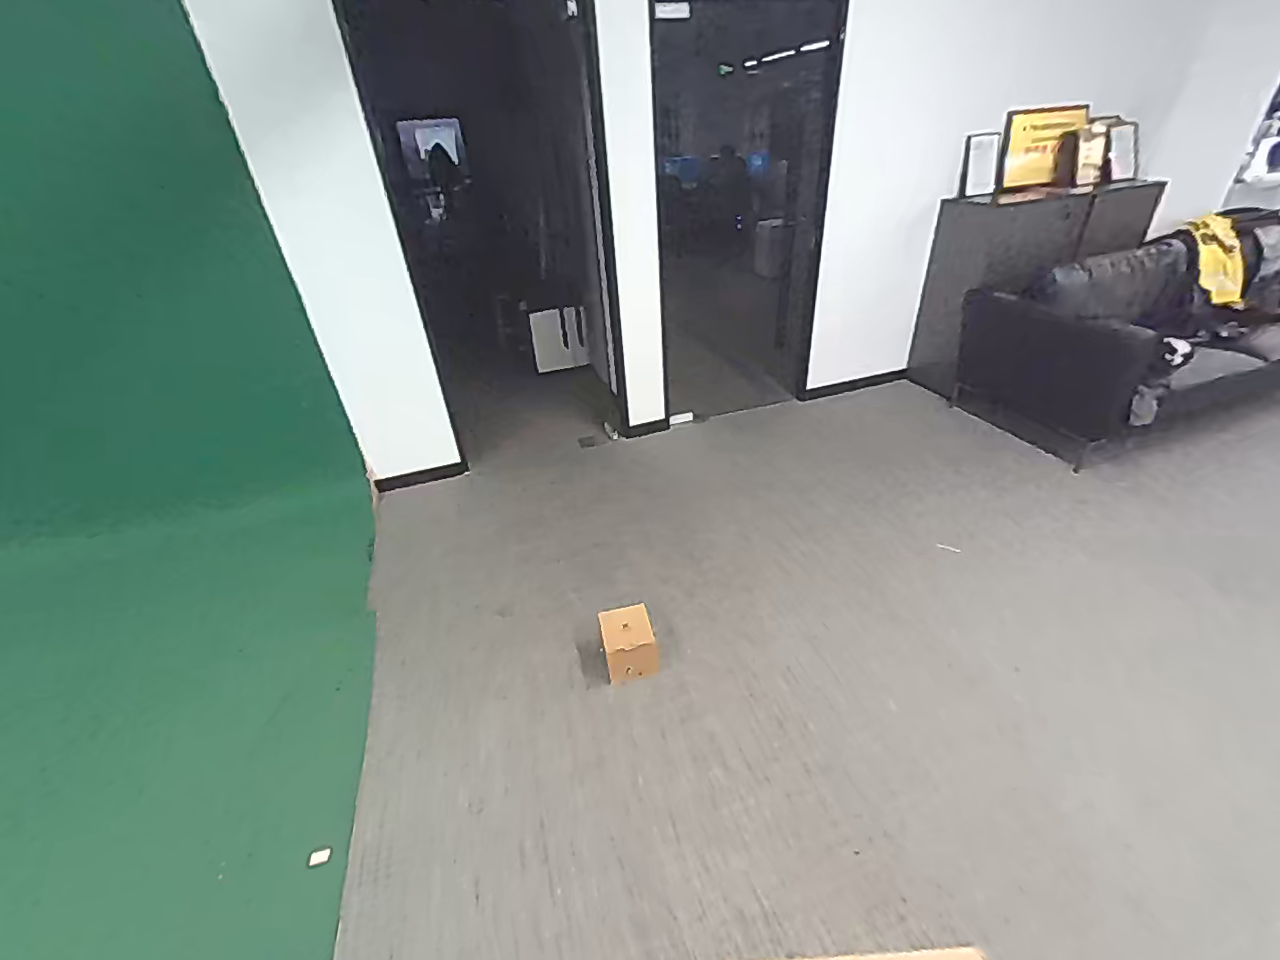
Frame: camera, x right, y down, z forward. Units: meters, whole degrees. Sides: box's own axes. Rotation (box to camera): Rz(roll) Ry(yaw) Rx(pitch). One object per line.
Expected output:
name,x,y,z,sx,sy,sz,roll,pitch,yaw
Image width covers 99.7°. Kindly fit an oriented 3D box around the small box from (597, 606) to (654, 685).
small box,-0.051,0.563,1.844,0.168,0.176,0.179,-9,33,-9
